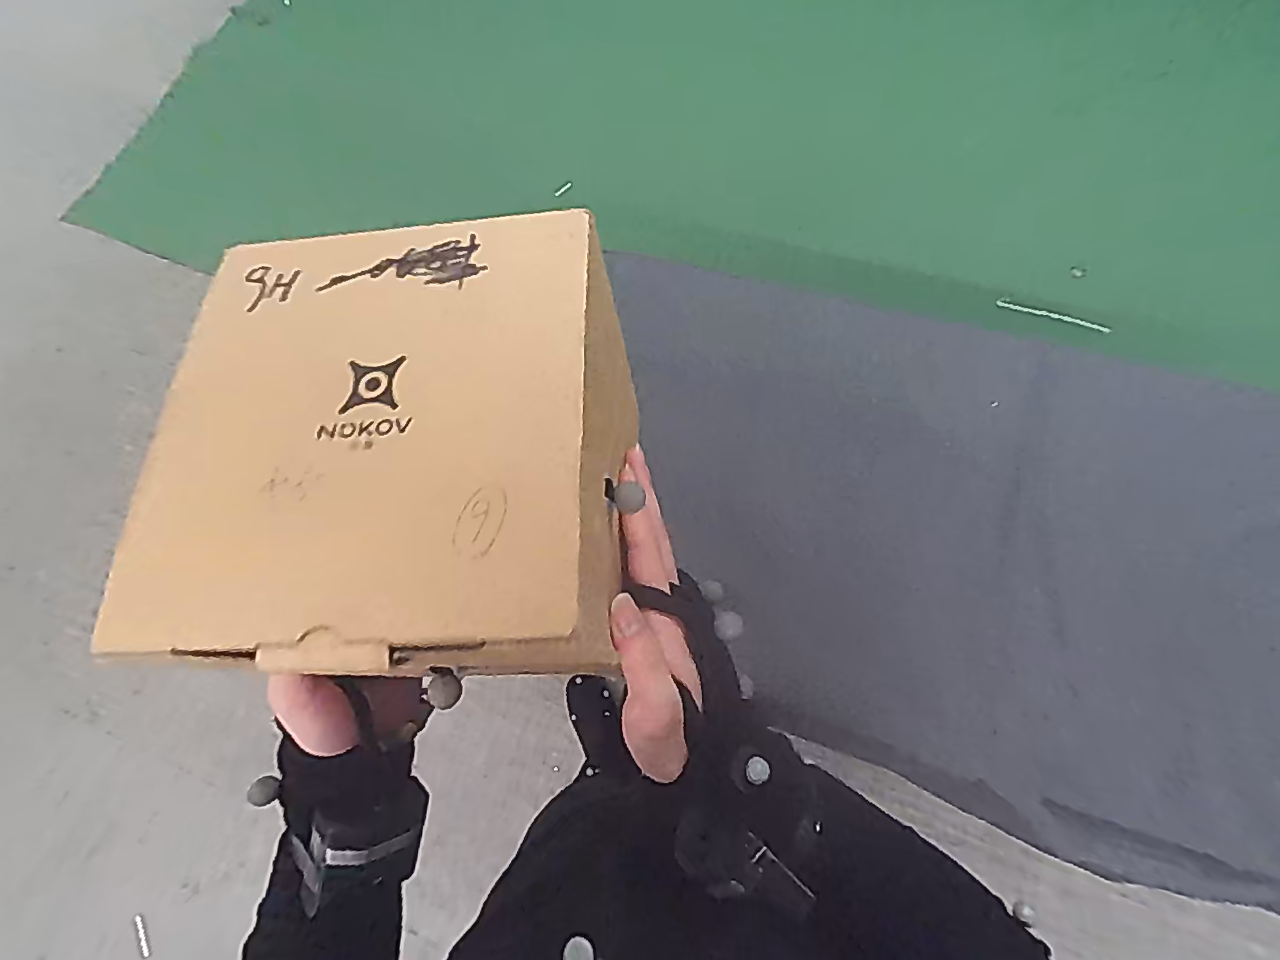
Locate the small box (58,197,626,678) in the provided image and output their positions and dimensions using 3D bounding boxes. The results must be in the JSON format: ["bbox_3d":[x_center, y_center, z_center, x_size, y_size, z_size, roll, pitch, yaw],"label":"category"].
[{"bbox_3d":[-0.096,0.000,0.265,0.168,0.176,0.179,-3,70,3],"label":"small box"}]
